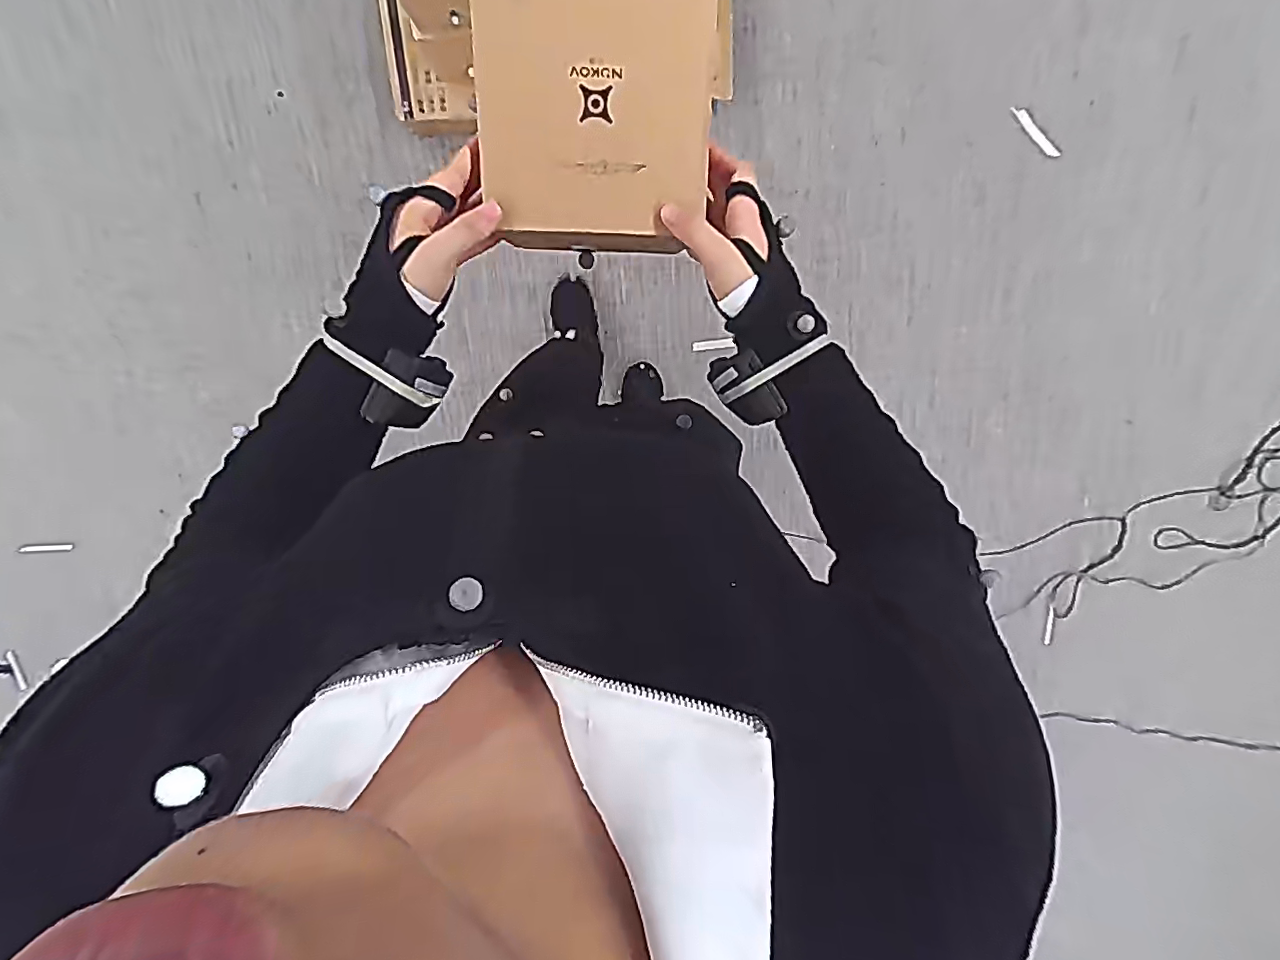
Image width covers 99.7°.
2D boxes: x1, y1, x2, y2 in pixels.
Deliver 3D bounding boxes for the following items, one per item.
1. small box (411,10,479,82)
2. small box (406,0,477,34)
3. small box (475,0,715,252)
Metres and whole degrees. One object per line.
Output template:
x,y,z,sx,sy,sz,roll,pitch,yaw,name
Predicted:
-0.347,-0.929,1.068,0.168,0.176,0.179,-5,105,1,small box
-0.326,-0.897,0.906,0.168,0.176,0.179,-3,104,0,small box
-0.036,-0.298,0.457,0.168,0.176,0.179,0,108,-3,small box
